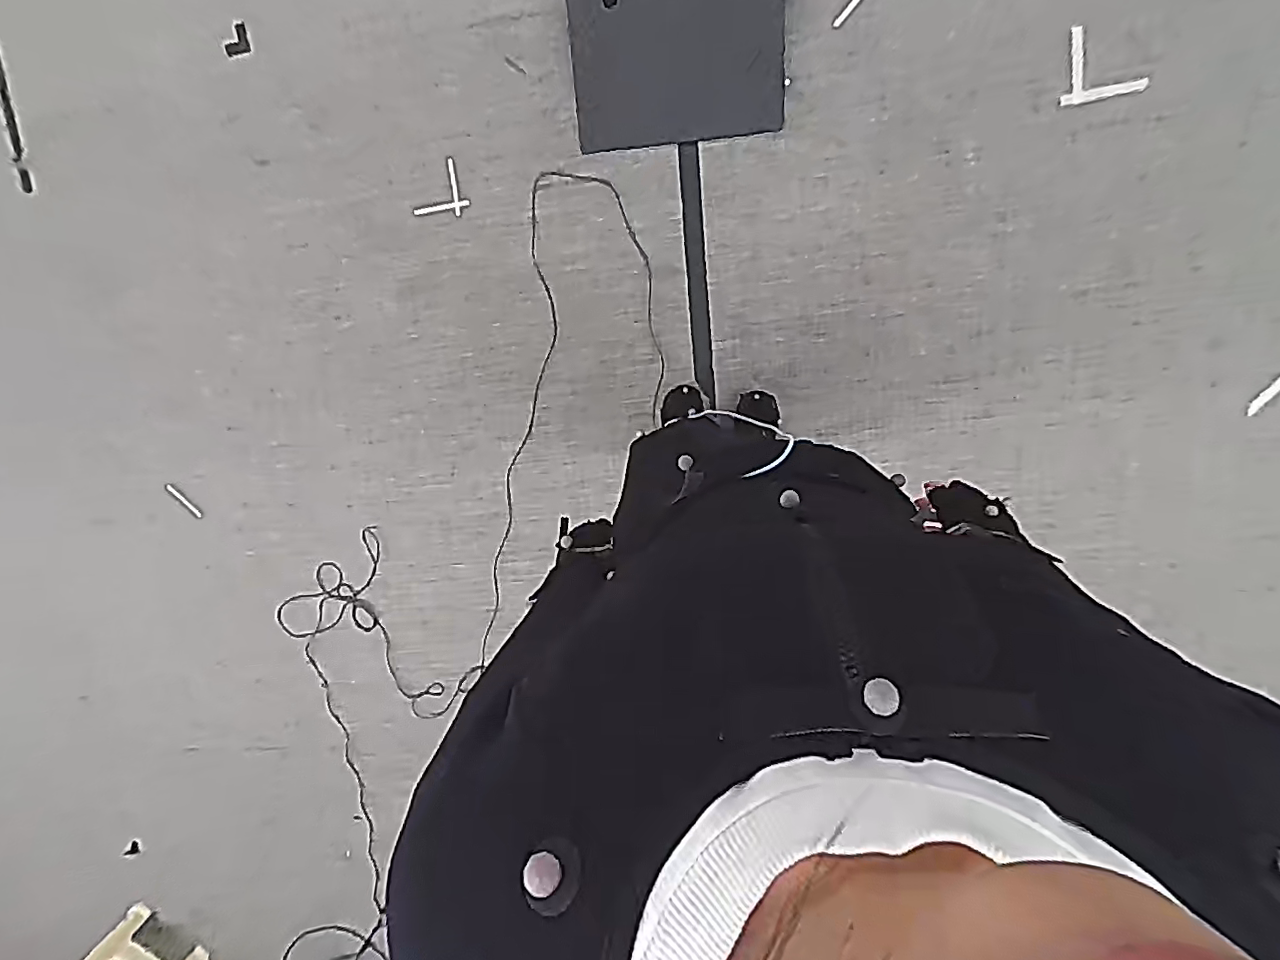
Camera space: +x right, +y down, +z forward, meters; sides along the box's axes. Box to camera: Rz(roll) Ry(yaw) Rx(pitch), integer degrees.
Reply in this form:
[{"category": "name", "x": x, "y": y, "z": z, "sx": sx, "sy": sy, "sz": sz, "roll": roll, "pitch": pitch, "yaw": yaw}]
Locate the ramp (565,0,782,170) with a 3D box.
[{"category": "ramp", "x": 0.052, "y": -1.267, "z": 1.176, "sx": 0.509, "sy": 0.206, "sz": 0.991, "roll": -6, "pitch": 99, "yaw": 7}]
